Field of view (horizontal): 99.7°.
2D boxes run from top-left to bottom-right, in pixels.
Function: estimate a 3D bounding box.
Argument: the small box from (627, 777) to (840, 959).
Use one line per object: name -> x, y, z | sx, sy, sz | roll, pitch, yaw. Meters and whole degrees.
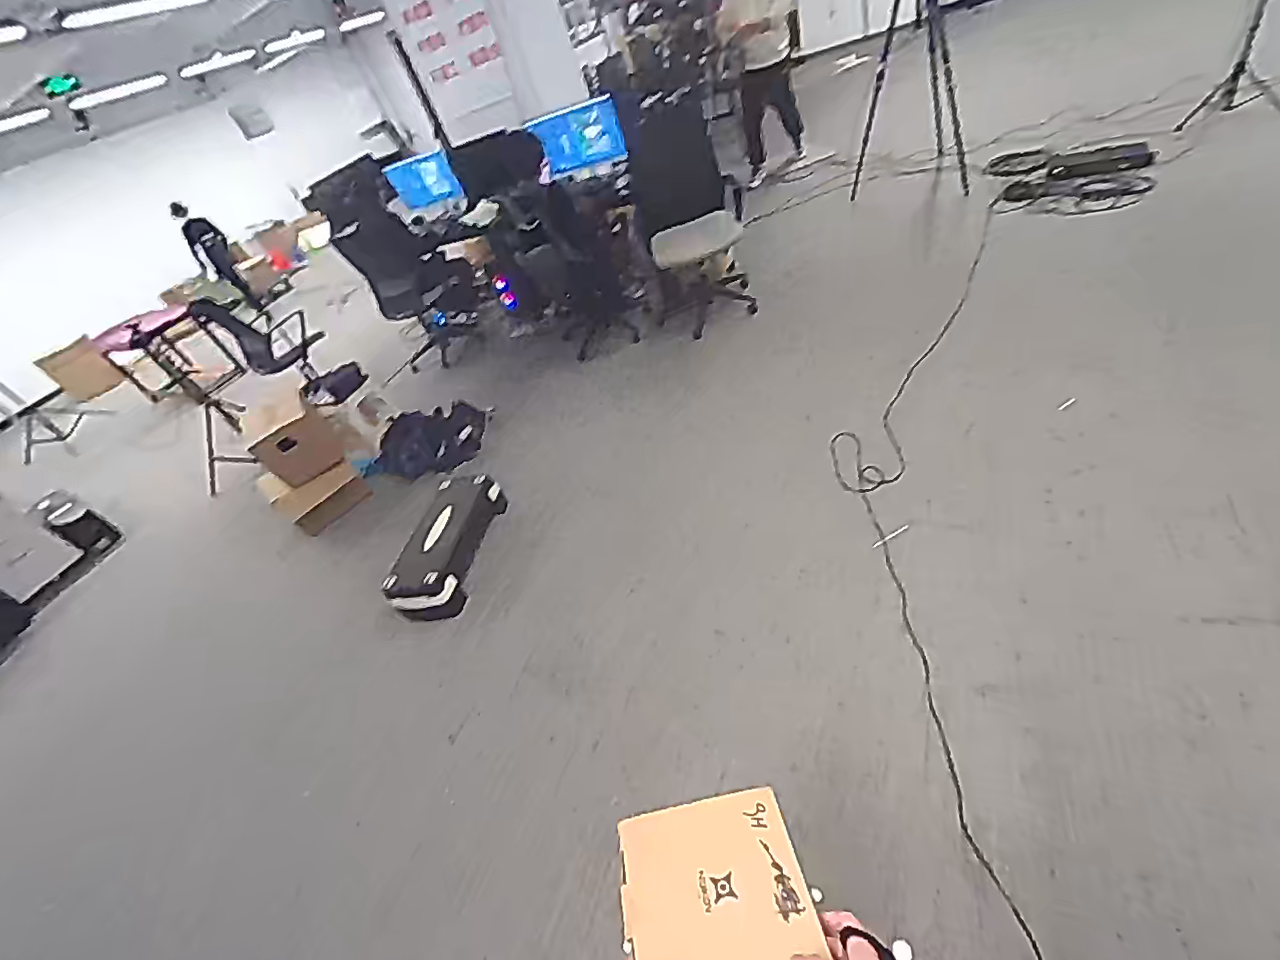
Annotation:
small box -> 0.092, 0.454, 0.570 | 0.179, 0.176, 0.168 | -11, 32, -2
